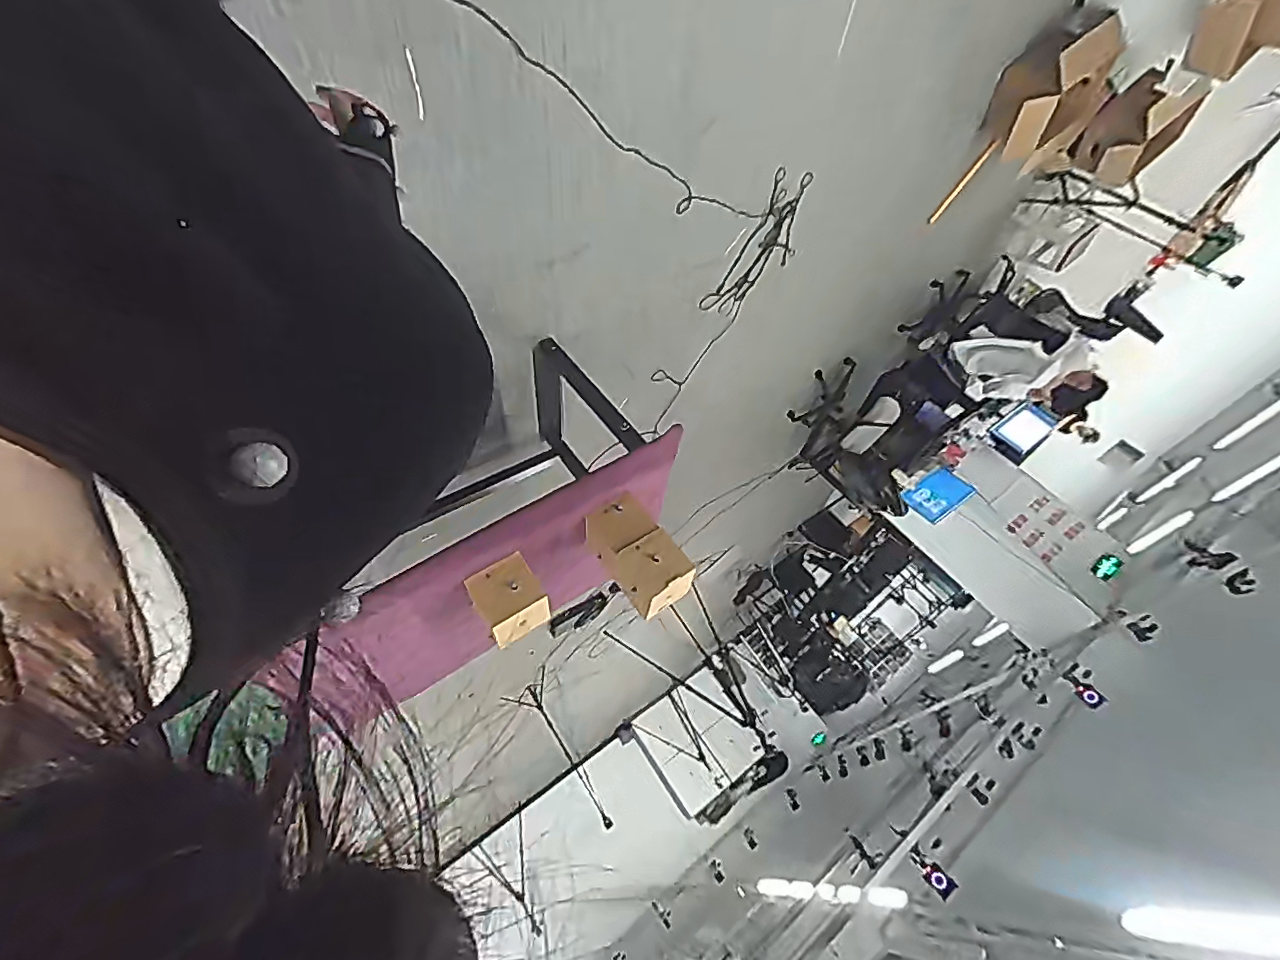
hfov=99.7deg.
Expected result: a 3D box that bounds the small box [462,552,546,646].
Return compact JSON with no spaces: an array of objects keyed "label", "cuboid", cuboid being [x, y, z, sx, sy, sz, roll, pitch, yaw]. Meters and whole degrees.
[{"label":"small box","cuboid":[-0.381,0.328,1.520,0.168,0.176,0.179,-29,154,-23]}]

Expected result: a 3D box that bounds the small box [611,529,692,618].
[{"label":"small box","cuboid":[0.028,0.269,1.605,0.168,0.176,0.179,-28,151,-25]}]

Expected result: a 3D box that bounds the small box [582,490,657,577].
[{"label":"small box","cuboid":[-0.069,0.163,1.684,0.168,0.176,0.179,-29,152,-24]}]
